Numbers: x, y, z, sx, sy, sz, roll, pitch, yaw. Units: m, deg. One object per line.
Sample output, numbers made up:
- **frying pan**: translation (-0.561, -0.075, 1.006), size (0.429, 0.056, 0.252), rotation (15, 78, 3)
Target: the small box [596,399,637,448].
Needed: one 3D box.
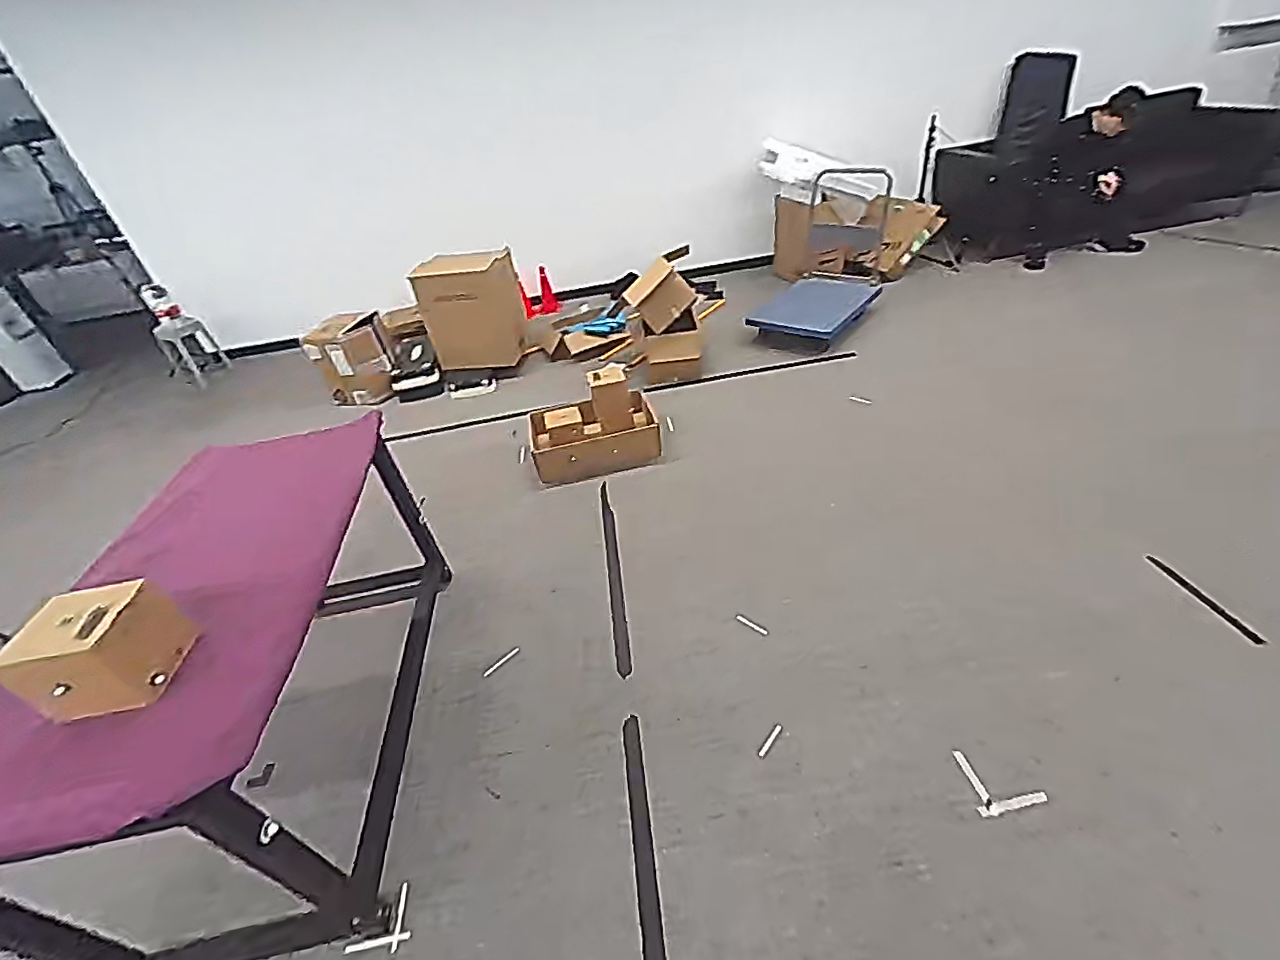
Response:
- **small box**: translation (-0.120, -0.289, 2.754), size (0.168, 0.176, 0.179), rotation (-14, 37, -5)

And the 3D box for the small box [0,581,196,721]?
- **small box**: translation (-0.987, 0.316, 1.001), size (0.179, 0.176, 0.168), rotation (-11, 36, -2)

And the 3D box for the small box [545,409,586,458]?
- **small box**: translation (-0.372, -0.232, 2.727), size (0.179, 0.176, 0.168), rotation (-13, 36, -8)
